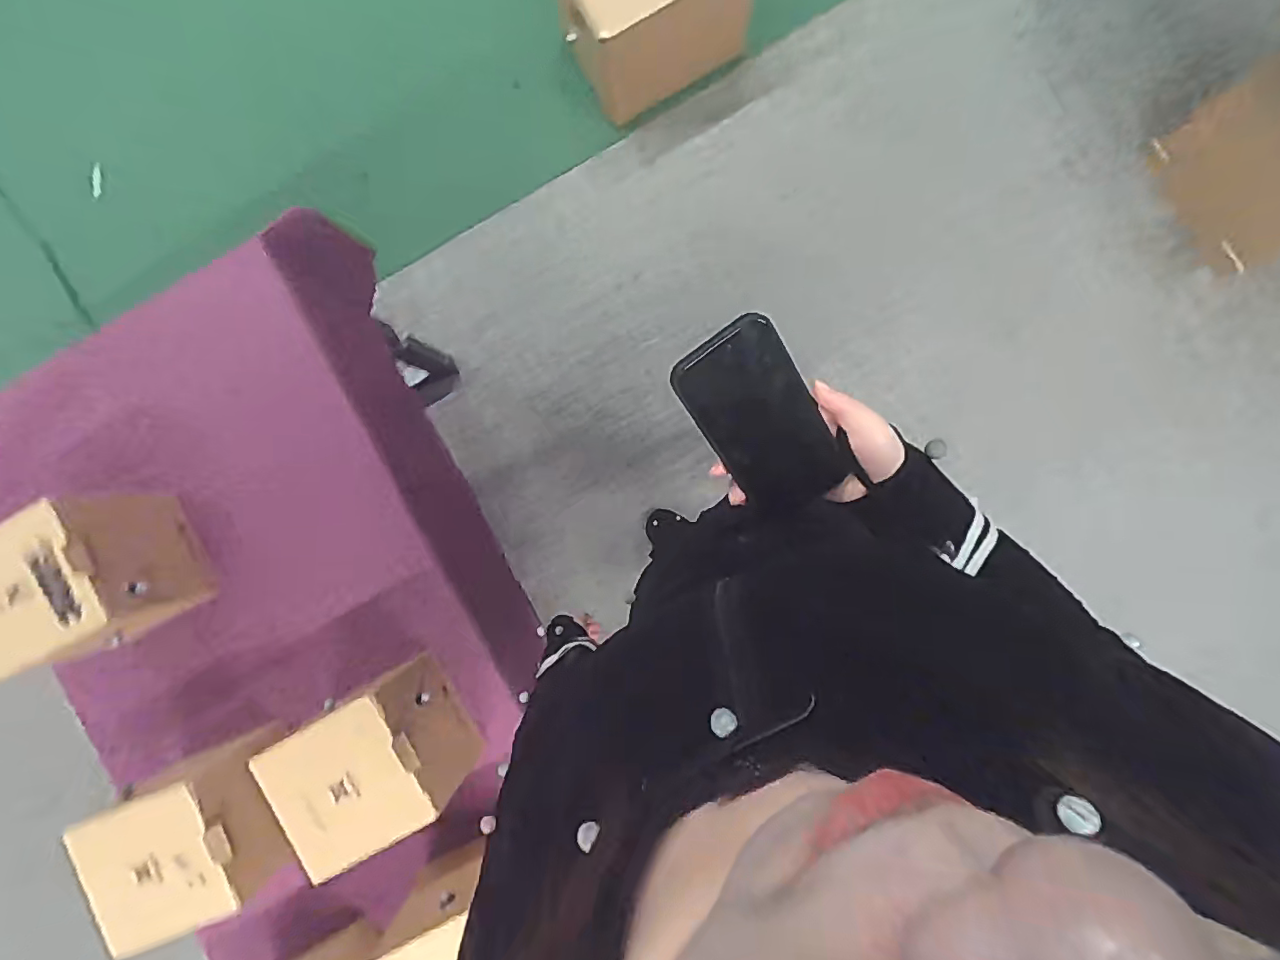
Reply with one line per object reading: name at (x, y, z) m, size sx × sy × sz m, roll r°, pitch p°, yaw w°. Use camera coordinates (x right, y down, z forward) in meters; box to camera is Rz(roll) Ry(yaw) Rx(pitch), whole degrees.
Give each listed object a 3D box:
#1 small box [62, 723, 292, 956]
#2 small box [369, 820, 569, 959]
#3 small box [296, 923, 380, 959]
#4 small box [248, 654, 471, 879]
small box at (-0.580, 0.462, 0.722) m, size 0.179 × 0.176 × 0.168 m, roll -23°, pitch 90°, yaw 3°
small box at (-0.207, 0.594, 0.704) m, size 0.179 × 0.176 × 0.168 m, roll -31°, pitch 88°, yaw 4°
small box at (-0.435, 0.754, 0.717) m, size 0.179 × 0.176 × 0.168 m, roll -34°, pitch 88°, yaw 2°
small box at (-0.346, 0.357, 0.711) m, size 0.179 × 0.176 × 0.168 m, roll -30°, pitch 88°, yaw 4°
